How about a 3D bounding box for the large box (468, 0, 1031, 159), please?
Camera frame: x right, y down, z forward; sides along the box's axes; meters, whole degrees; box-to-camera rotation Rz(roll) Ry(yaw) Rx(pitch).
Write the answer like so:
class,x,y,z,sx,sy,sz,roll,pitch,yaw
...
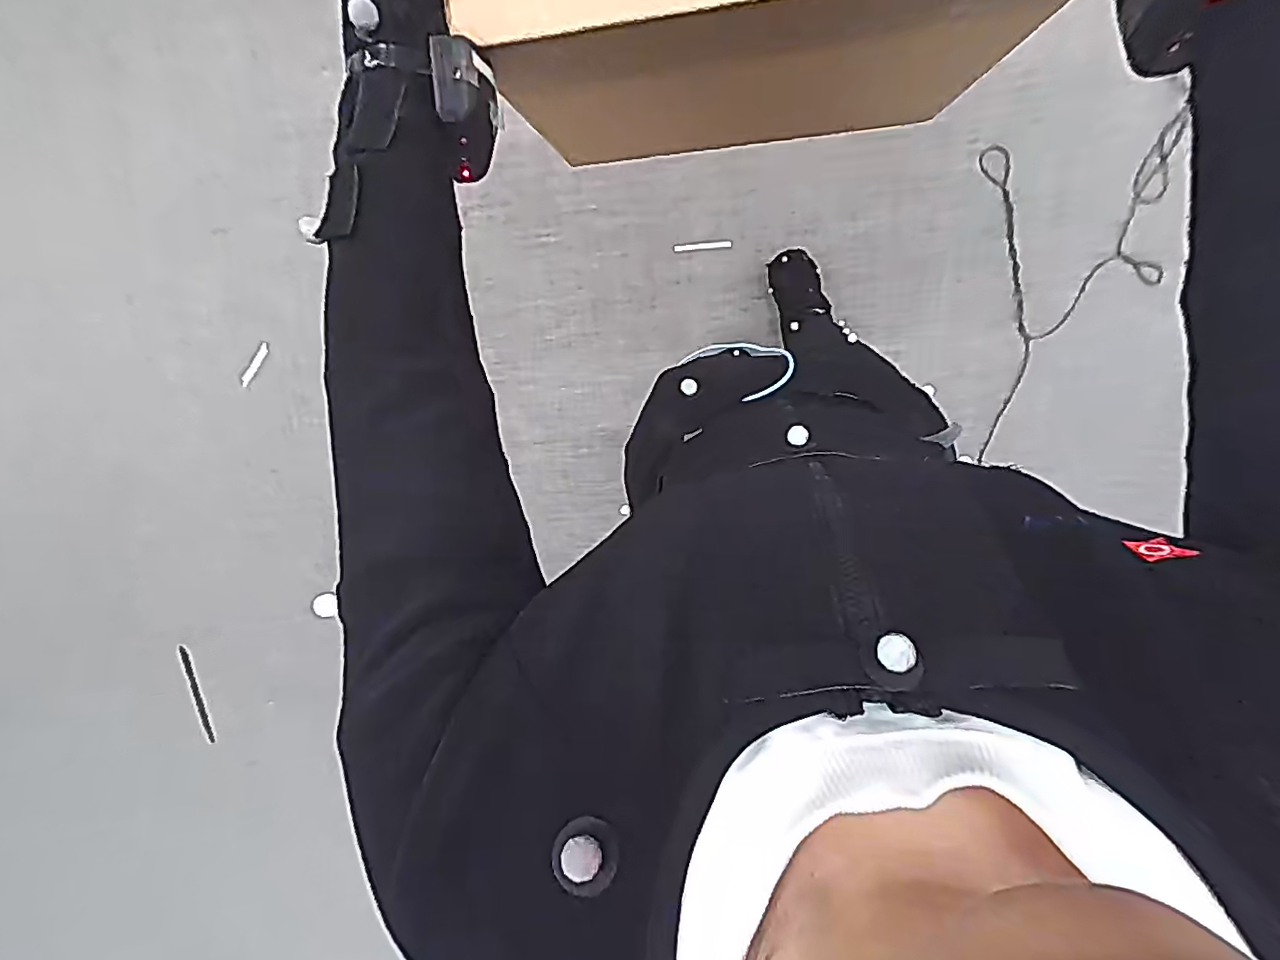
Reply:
class,x,y,z,sx,sy,sz,roll,pitch,yaw
large box,0.083,-0.492,0.427,0.408,0.320,0.320,-4,107,7
